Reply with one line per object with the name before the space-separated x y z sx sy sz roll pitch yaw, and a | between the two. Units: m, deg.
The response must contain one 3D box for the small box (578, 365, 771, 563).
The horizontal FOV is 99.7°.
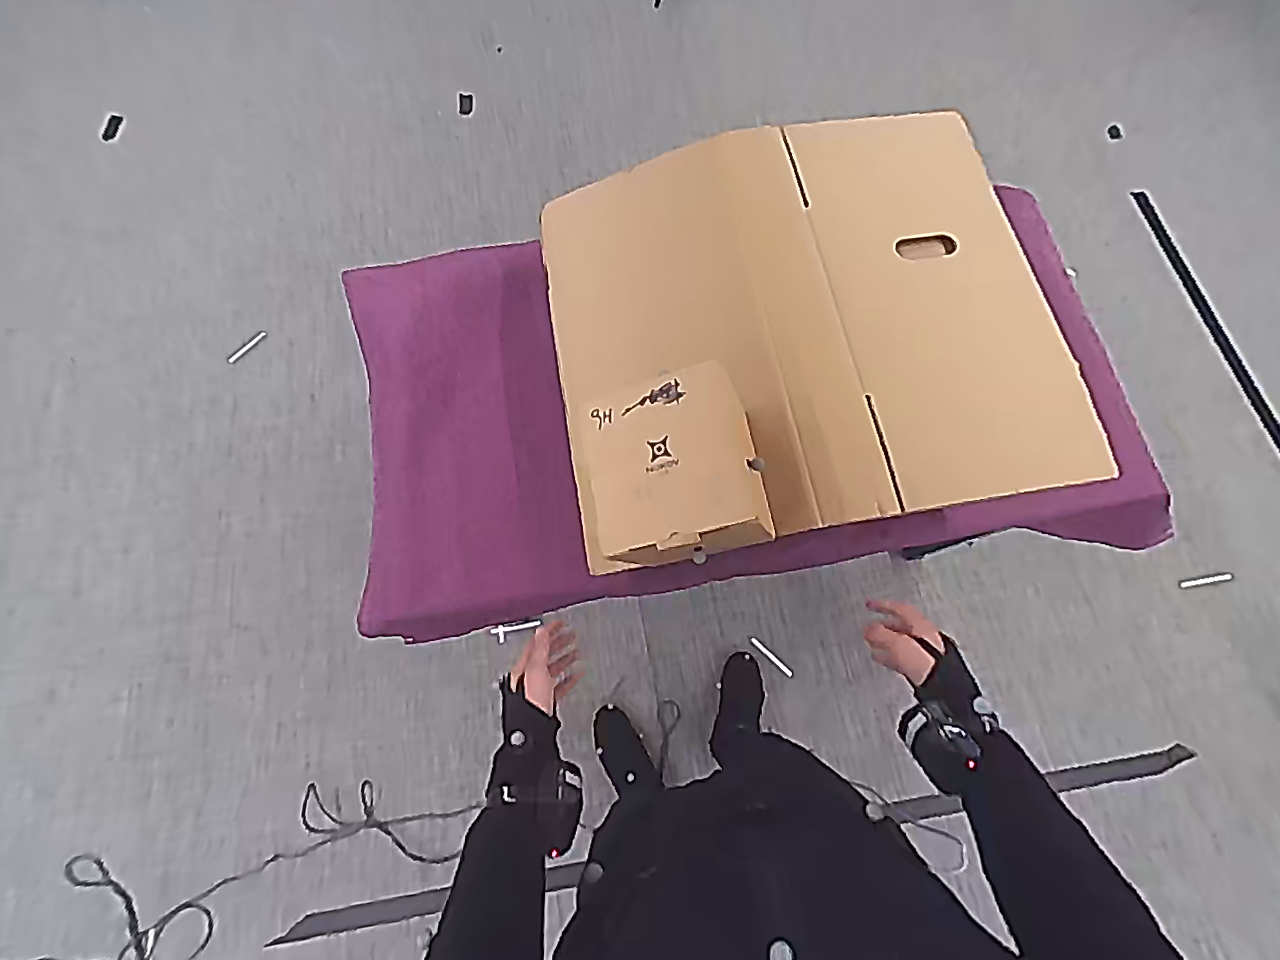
small box | 0.047 -0.003 0.629 0.168 0.176 0.179 -15 74 16
